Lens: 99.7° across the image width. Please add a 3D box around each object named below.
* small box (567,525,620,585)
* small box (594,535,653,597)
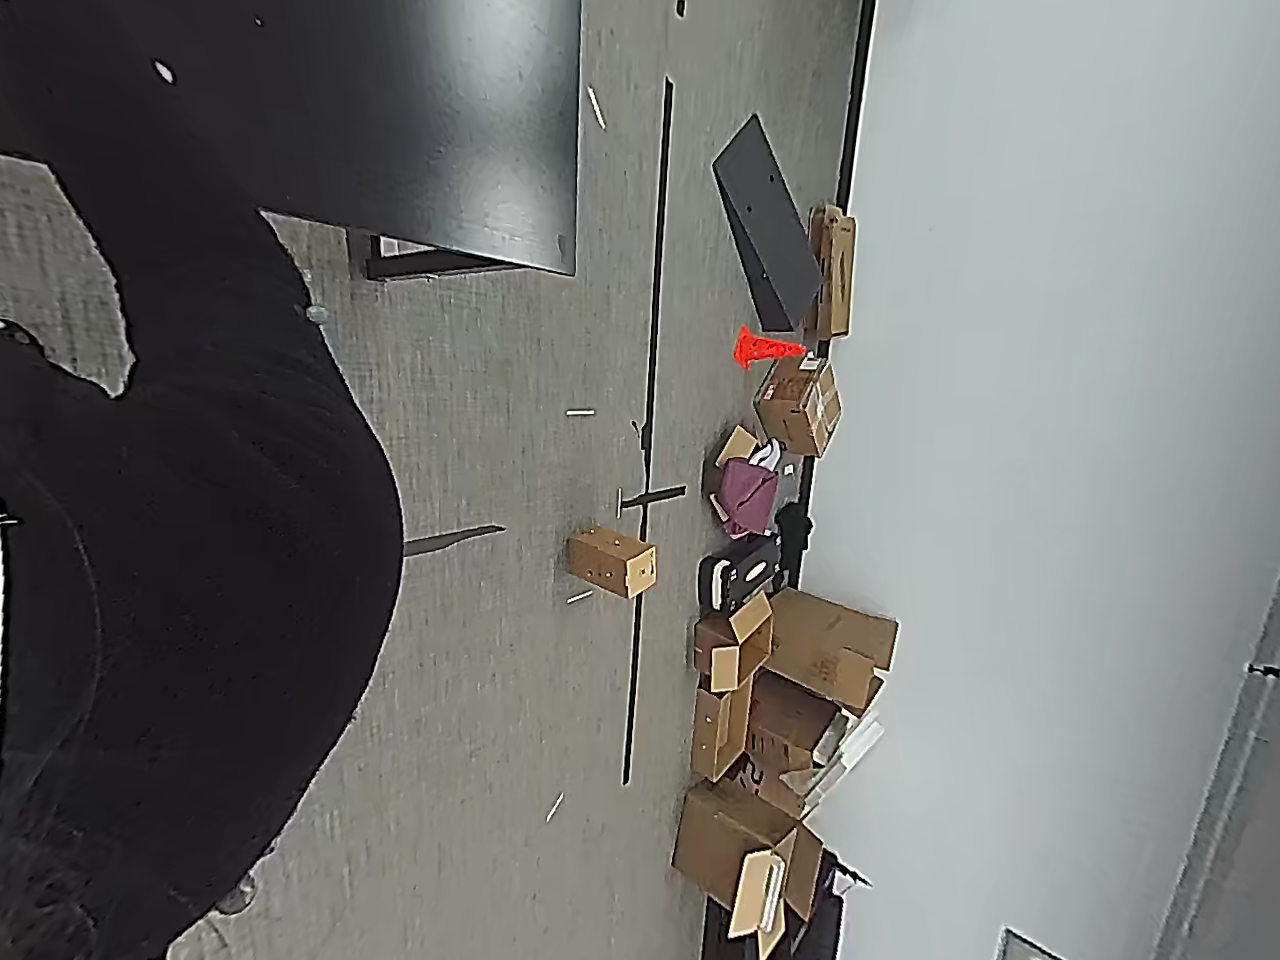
[{"bbox_3d":[-0.190,0.306,2.248,0.168,0.176,0.179,-20,116,-48],"label":"small box"},{"bbox_3d":[-0.069,0.336,2.142,0.179,0.176,0.168,-21,117,-47],"label":"small box"}]
